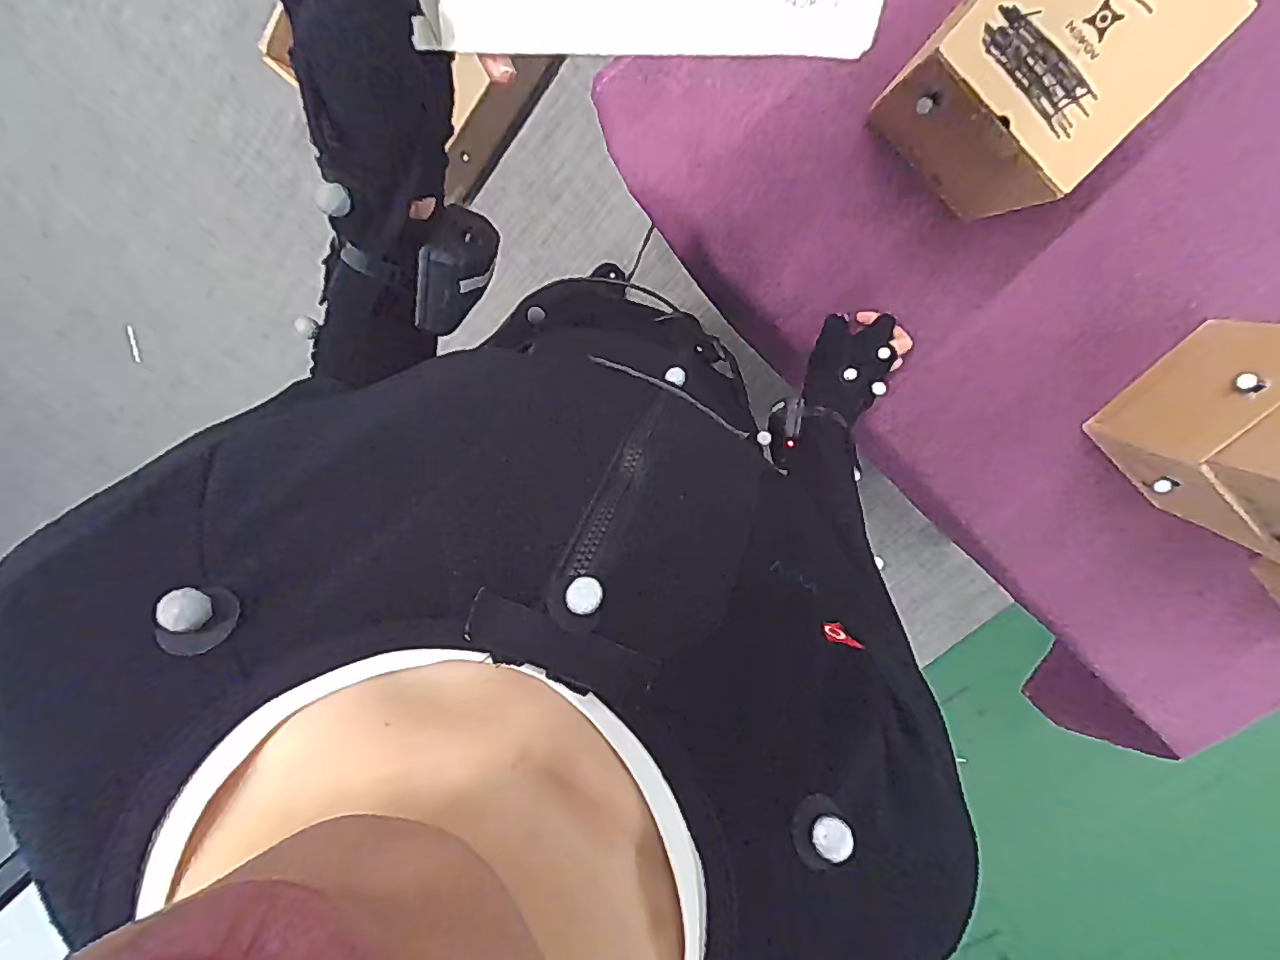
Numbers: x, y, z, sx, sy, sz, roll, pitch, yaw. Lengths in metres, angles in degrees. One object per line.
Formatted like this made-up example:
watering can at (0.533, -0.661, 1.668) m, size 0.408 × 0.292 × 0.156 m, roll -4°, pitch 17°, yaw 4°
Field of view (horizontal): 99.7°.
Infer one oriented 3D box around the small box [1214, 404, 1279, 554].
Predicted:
small box at (0.660, -0.002, 0.441) m, size 0.168 × 0.176 × 0.179 m, roll 43°, pitch 106°, yaw -11°

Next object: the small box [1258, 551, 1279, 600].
small box at (0.922, 0.129, 0.646) m, size 0.168 × 0.176 × 0.179 m, roll 43°, pitch 106°, yaw -12°

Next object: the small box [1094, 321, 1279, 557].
small box at (0.663, -0.054, 0.598) m, size 0.168 × 0.176 × 0.179 m, roll 40°, pitch 106°, yaw -10°
